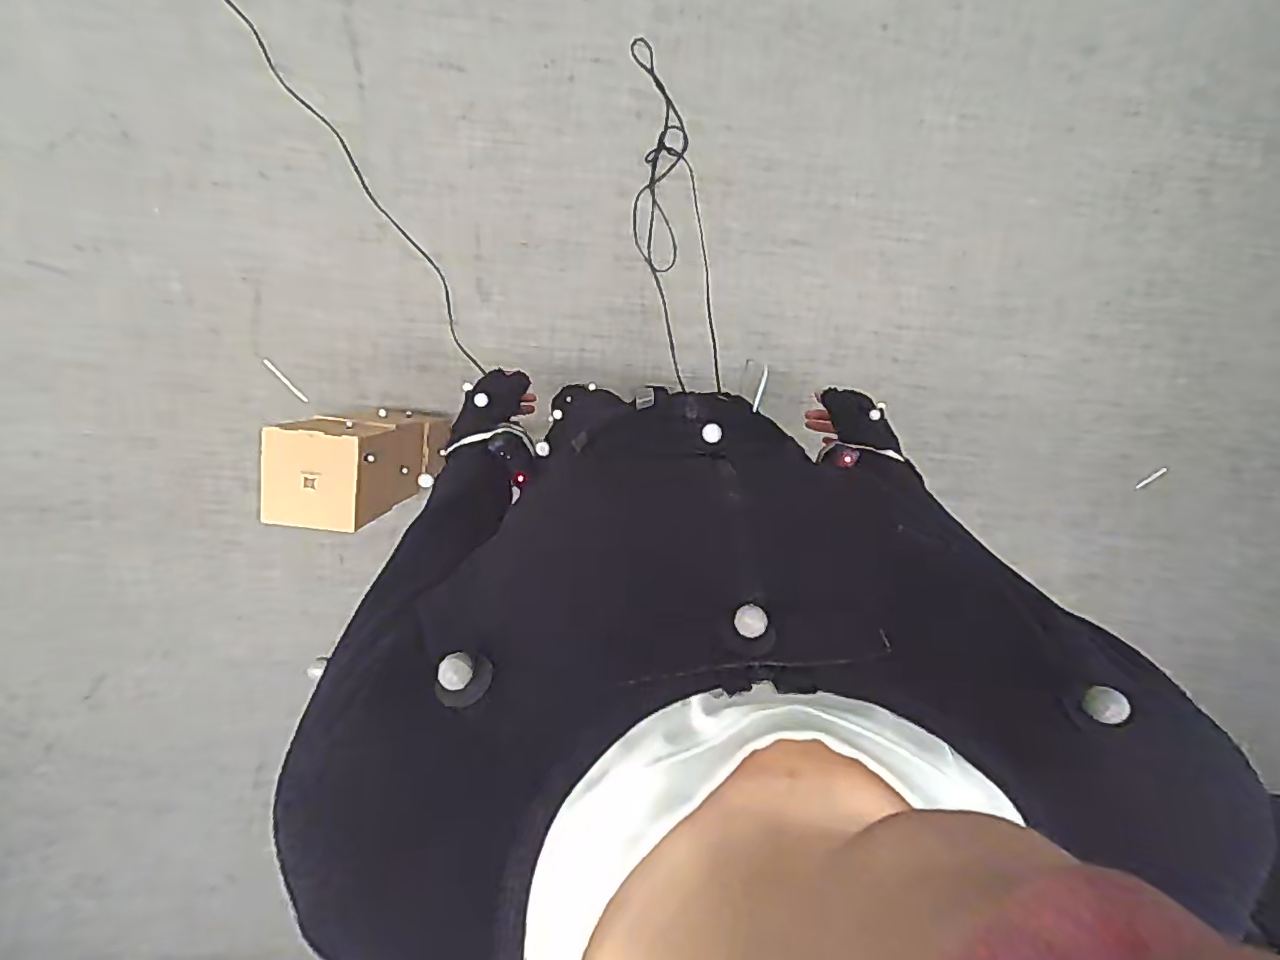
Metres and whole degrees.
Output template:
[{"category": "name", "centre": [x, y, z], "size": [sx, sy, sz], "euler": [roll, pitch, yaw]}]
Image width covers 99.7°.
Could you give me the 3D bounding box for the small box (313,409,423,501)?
[{"category": "small box", "centre": [-0.589, -0.056, 1.181], "size": [0.168, 0.176, 0.179], "euler": [7, 99, -4]}]

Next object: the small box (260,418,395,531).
[{"category": "small box", "centre": [-0.581, -0.017, 1.023], "size": [0.168, 0.176, 0.179], "euler": [7, 99, -4]}]

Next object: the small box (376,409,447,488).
[{"category": "small box", "centre": [-0.590, -0.084, 1.344], "size": [0.179, 0.176, 0.168], "euler": [6, 100, -4]}]
